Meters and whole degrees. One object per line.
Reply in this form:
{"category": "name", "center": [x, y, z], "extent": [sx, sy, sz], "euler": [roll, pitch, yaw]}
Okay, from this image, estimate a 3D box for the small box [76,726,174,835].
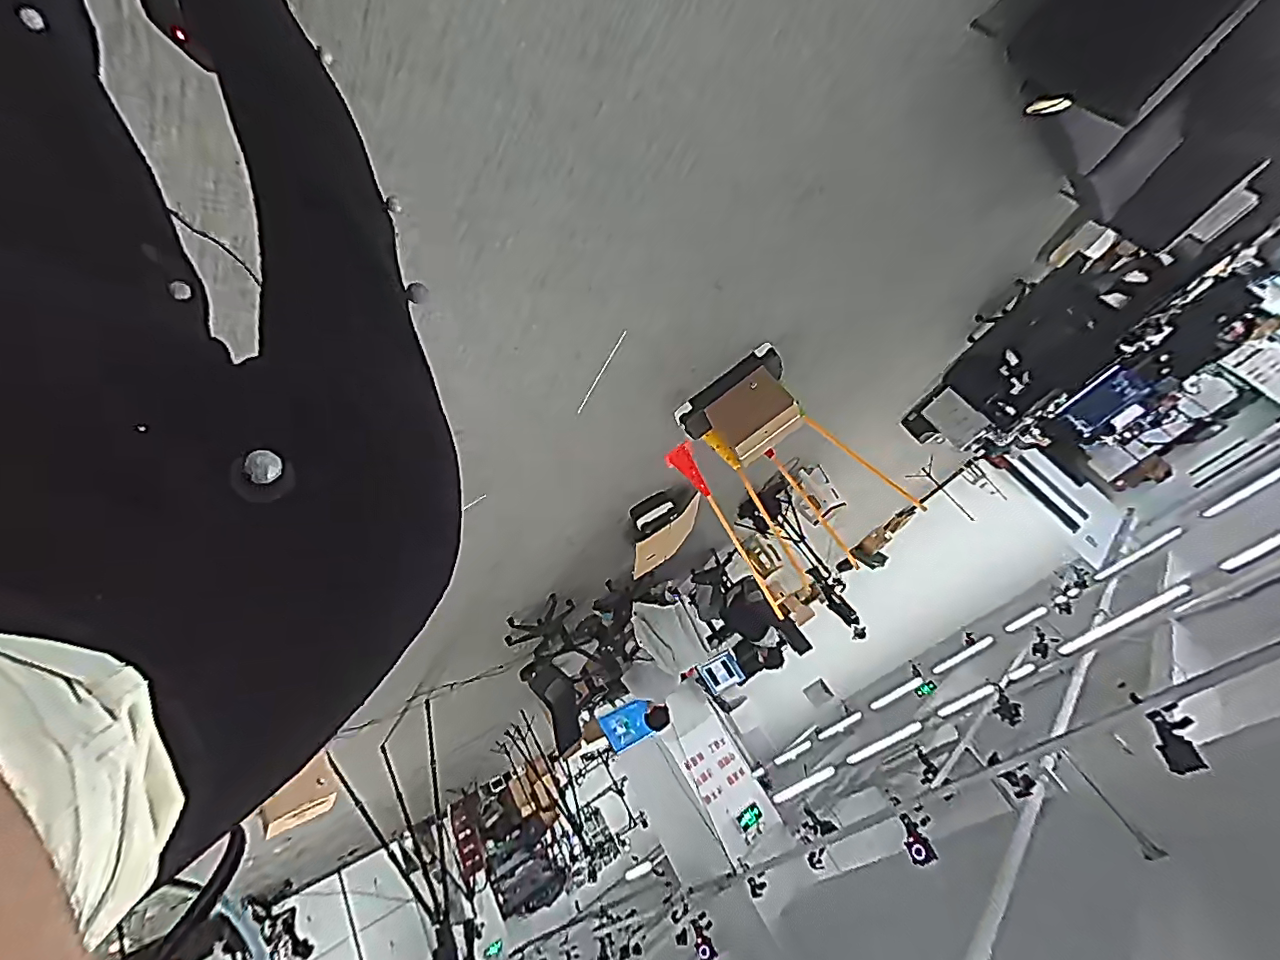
{"category": "small box", "center": [-1.317, 0.760, 1.386], "extent": [0.168, 0.176, 0.179], "euler": [-8, 145, -44]}
